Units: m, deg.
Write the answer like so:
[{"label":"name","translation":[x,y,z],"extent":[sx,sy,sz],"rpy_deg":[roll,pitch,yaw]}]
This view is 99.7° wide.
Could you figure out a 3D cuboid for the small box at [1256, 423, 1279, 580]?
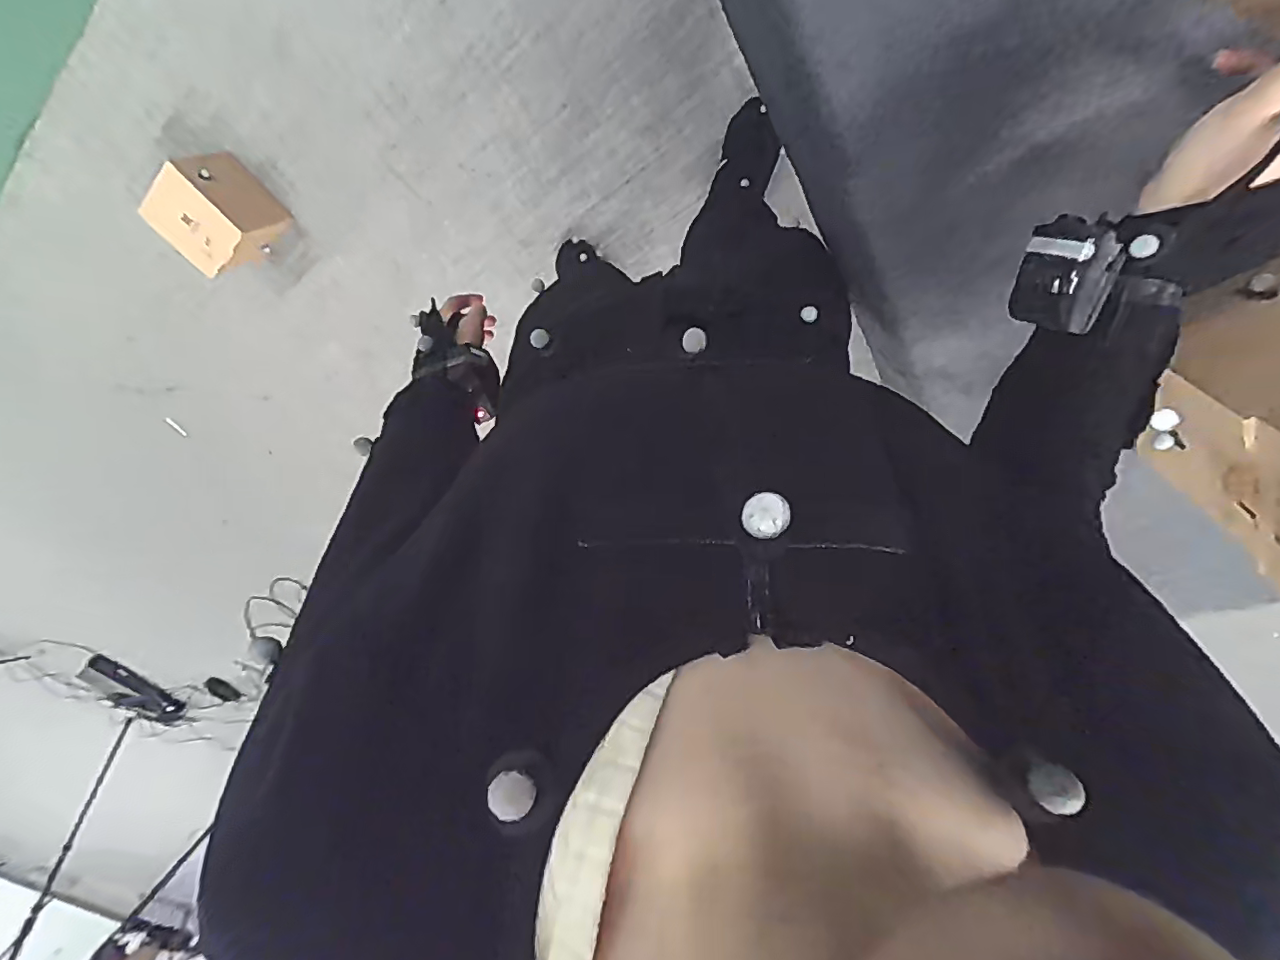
[{"label":"small box","translation":[0.519,0.026,0.307],"extent":[0.179,0.176,0.168],"rpy_deg":[-24,120,23]}]

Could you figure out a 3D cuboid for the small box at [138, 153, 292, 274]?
[{"label":"small box","translation":[-0.934,-0.597,1.202],"extent":[0.168,0.176,0.179],"rpy_deg":[-29,116,27]}]

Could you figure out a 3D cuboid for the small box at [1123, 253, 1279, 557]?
[{"label":"small box","translation":[0.537,-0.073,0.435],"extent":[0.179,0.176,0.168],"rpy_deg":[-26,118,25]}]
